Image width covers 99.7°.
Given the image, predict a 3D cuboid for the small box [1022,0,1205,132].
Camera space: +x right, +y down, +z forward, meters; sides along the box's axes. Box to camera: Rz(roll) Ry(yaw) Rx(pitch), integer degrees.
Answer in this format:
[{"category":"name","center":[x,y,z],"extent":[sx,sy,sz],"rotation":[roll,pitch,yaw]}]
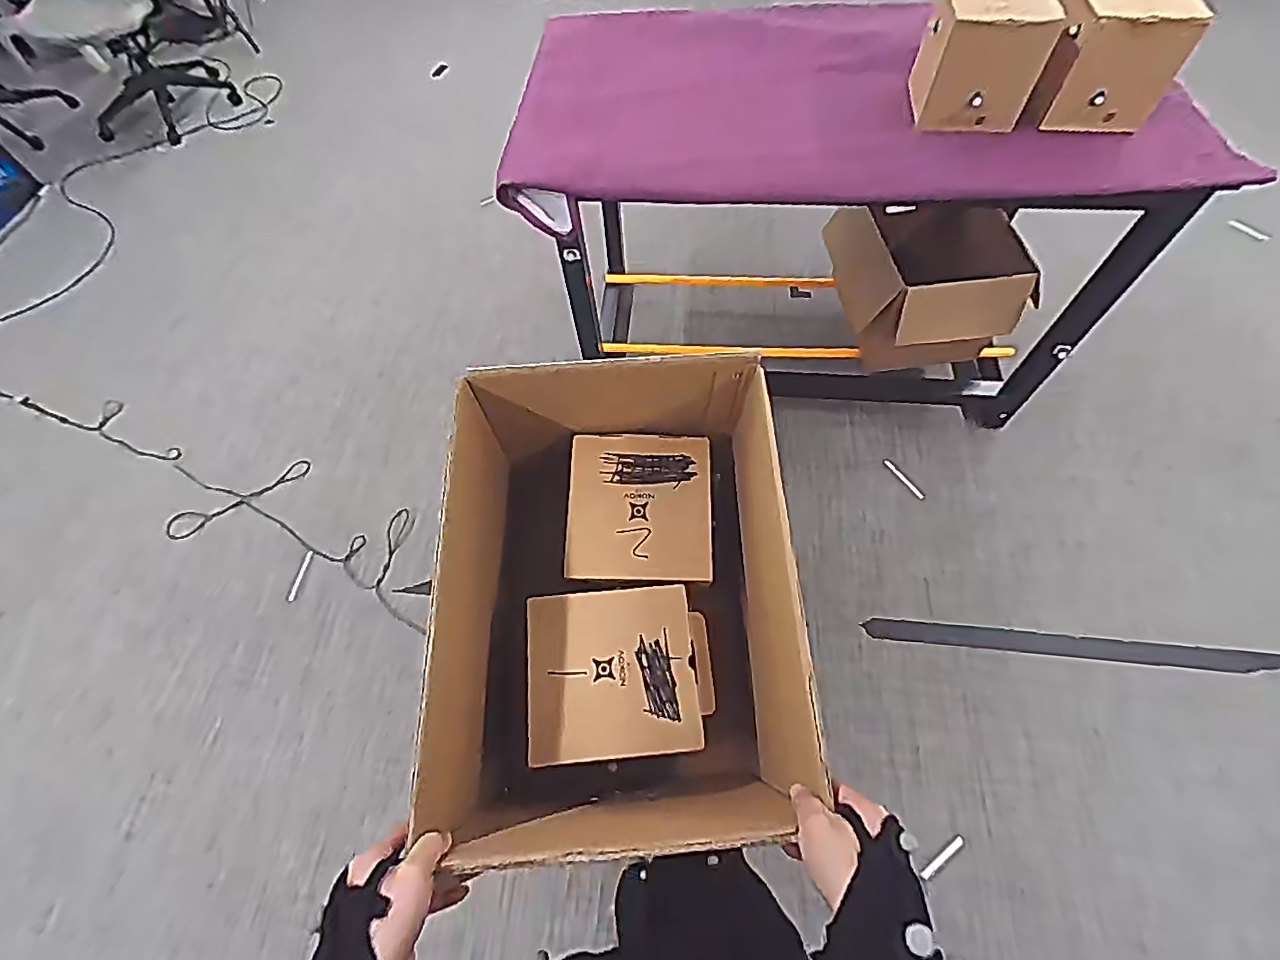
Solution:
[{"category":"small box","center":[0.801,-0.743,0.945],"extent":[0.168,0.176,0.179],"rotation":[6,60,8]}]

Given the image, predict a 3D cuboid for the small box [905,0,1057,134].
[{"category":"small box","center":[0.591,-0.753,0.966],"extent":[0.168,0.176,0.179],"rotation":[6,60,8]}]
